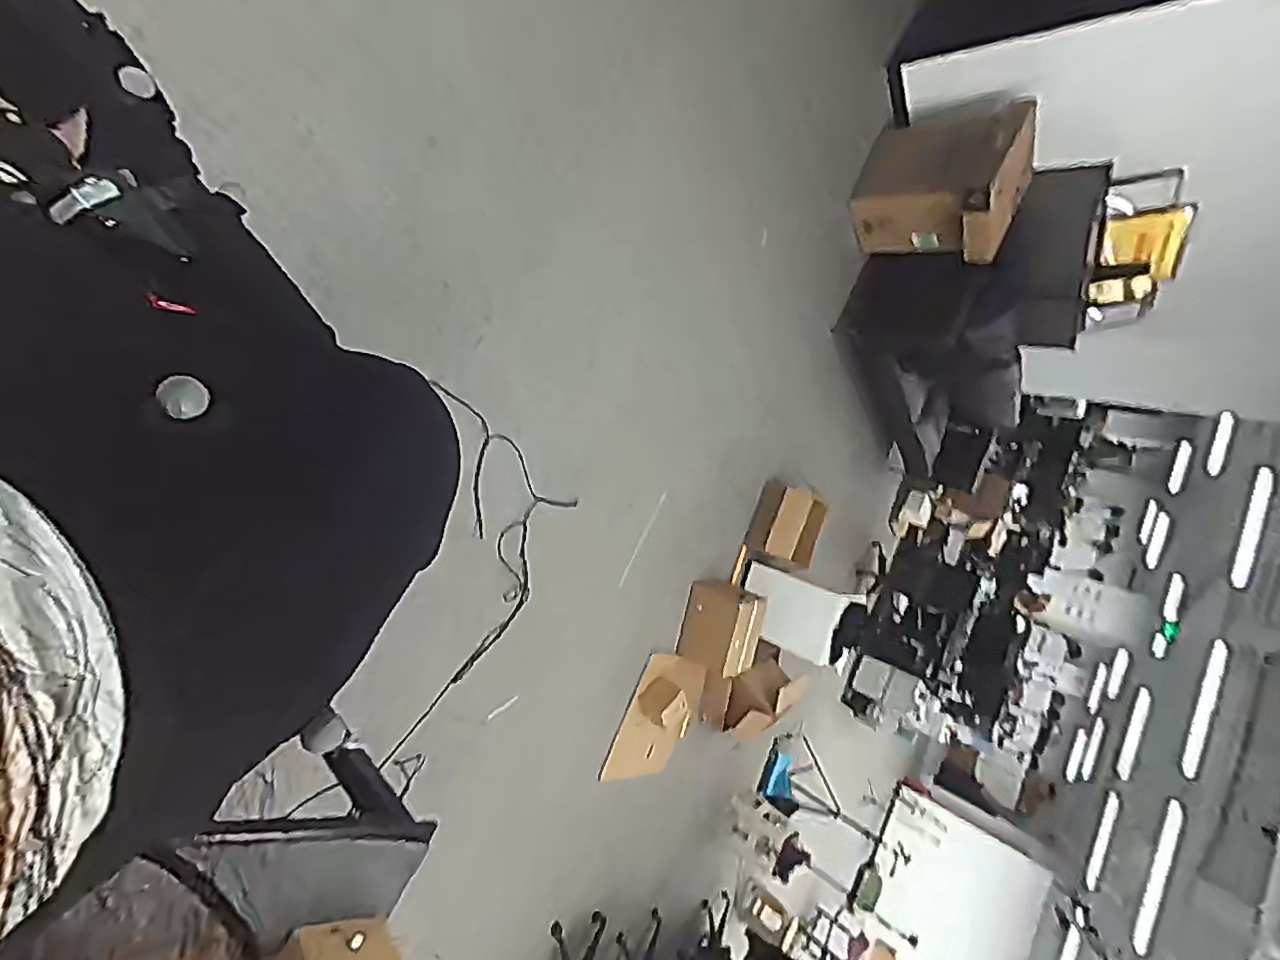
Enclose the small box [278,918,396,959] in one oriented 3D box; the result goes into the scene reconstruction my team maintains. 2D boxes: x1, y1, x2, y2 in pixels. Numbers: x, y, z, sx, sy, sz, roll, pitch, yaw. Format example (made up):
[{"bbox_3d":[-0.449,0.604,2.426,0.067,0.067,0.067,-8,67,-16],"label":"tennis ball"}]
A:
[{"bbox_3d":[-0.491,0.841,0.843,0.179,0.176,0.168,-59,139,-12],"label":"small box"}]
